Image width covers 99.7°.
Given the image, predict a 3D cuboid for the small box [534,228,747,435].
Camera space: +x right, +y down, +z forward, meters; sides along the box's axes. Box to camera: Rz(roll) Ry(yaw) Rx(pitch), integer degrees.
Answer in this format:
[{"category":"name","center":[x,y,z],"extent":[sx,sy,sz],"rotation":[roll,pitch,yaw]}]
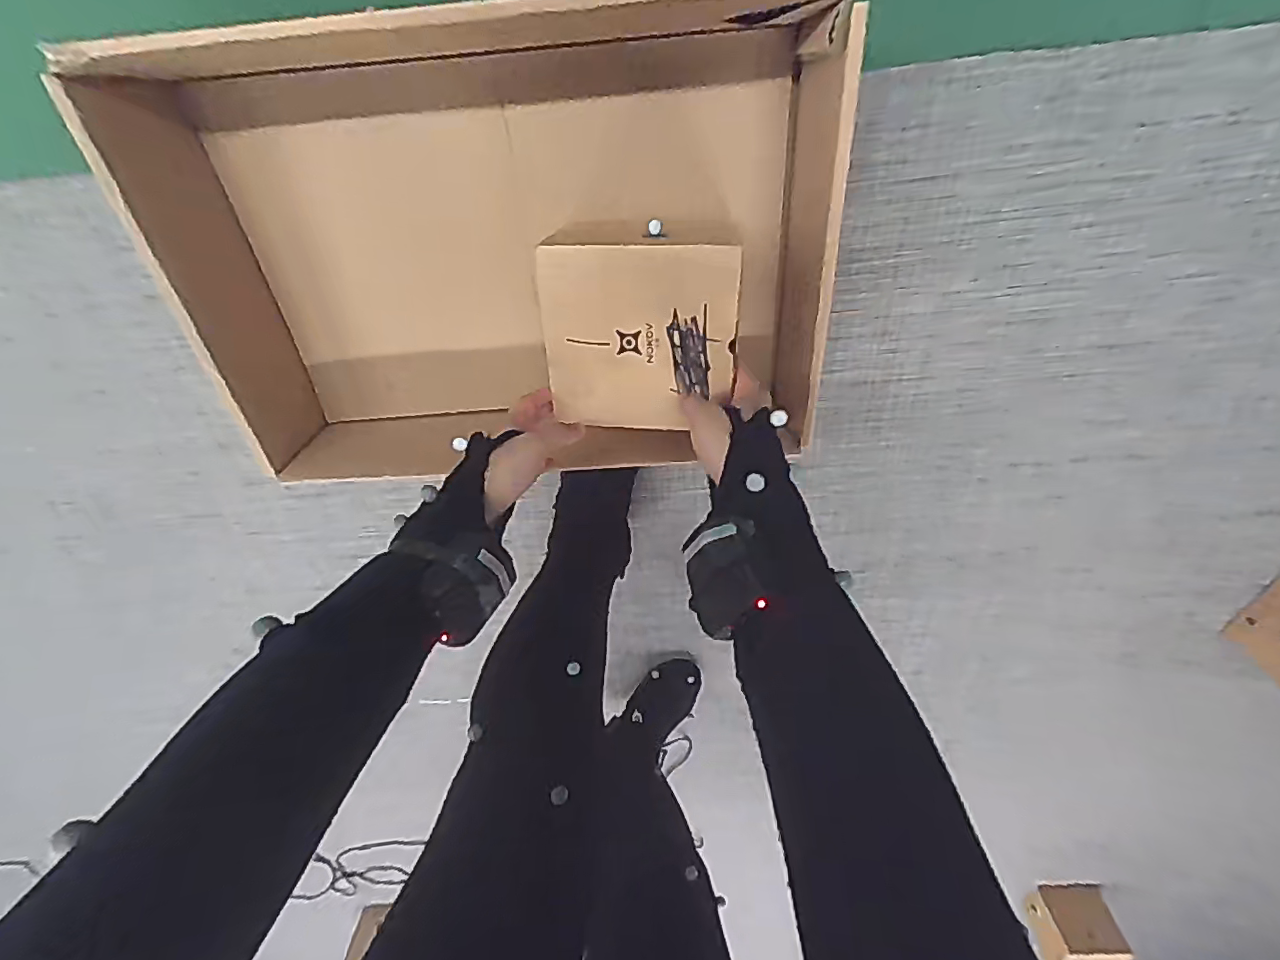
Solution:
[{"category":"small box","center":[0.005,-0.156,0.544],"extent":[0.179,0.176,0.168],"rotation":[2,120,5]}]

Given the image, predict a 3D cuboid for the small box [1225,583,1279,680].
[{"category":"small box","center":[1.167,0.269,0.898],"extent":[0.179,0.176,0.168],"rotation":[6,123,-3]}]

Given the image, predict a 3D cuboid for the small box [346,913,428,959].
[{"category":"small box","center":[-0.809,1.515,1.725],"extent":[0.168,0.176,0.179],"rotation":[-12,122,8]}]

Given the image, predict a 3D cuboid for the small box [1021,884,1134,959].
[{"category":"small box","center":[1.289,1.331,1.609],"extent":[0.179,0.176,0.168],"rotation":[-4,122,4]}]
